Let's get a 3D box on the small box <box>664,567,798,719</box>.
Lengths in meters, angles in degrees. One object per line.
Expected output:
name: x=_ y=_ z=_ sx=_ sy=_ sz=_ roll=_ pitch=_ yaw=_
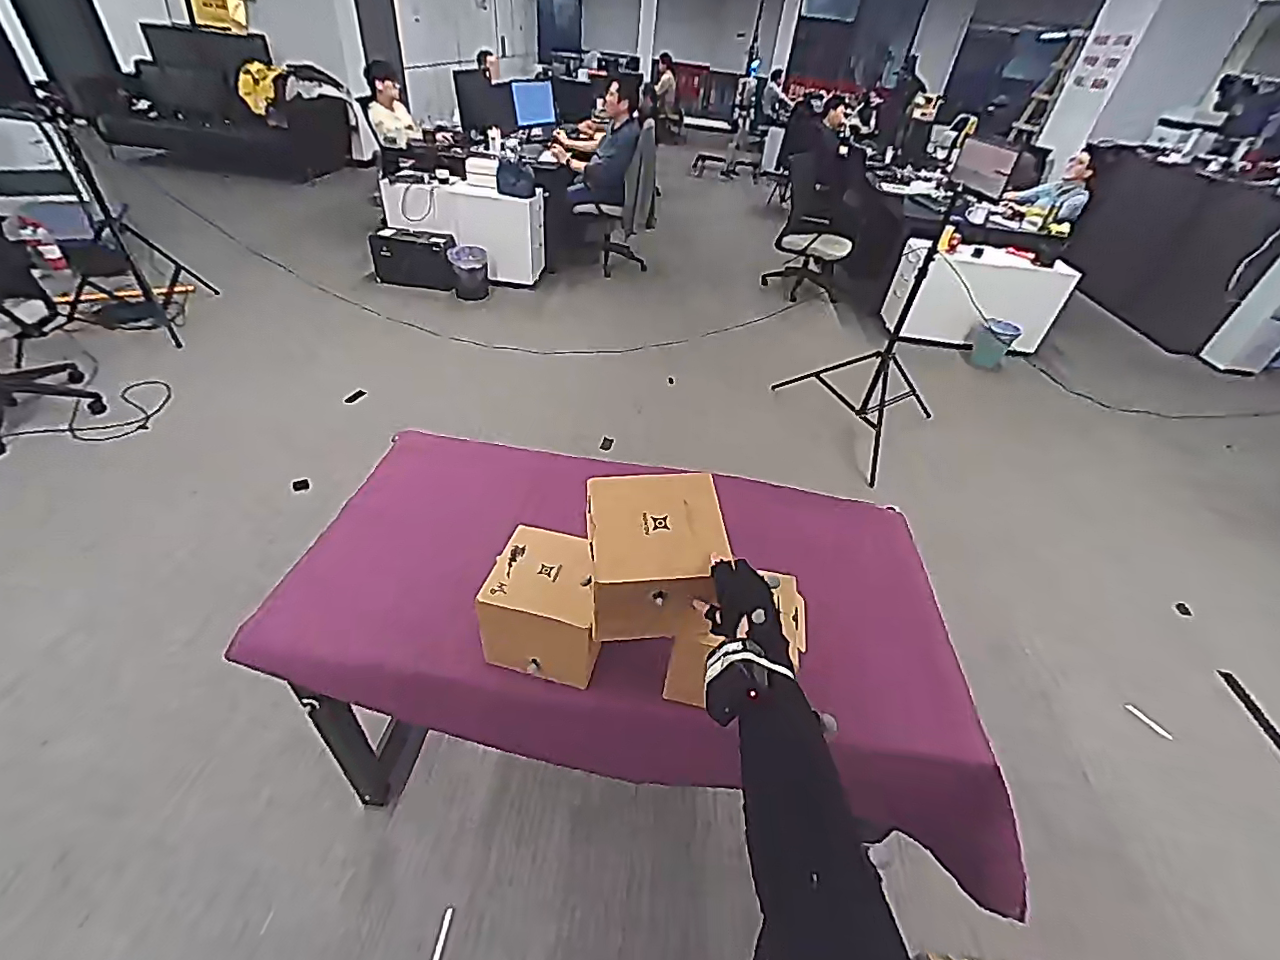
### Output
small box: x=0.145 y=0.258 z=0.871 sx=0.179 sy=0.176 sz=0.168 roll=11 pitch=38 yaw=6

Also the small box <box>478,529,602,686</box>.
small box: x=-0.143 y=0.211 z=0.887 sx=0.179 sy=0.176 sz=0.168 roll=13 pitch=39 yaw=6

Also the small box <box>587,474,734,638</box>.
small box: x=0.018 y=0.110 z=0.764 sx=0.179 sy=0.176 sz=0.168 roll=-2 pitch=48 yaw=-8
